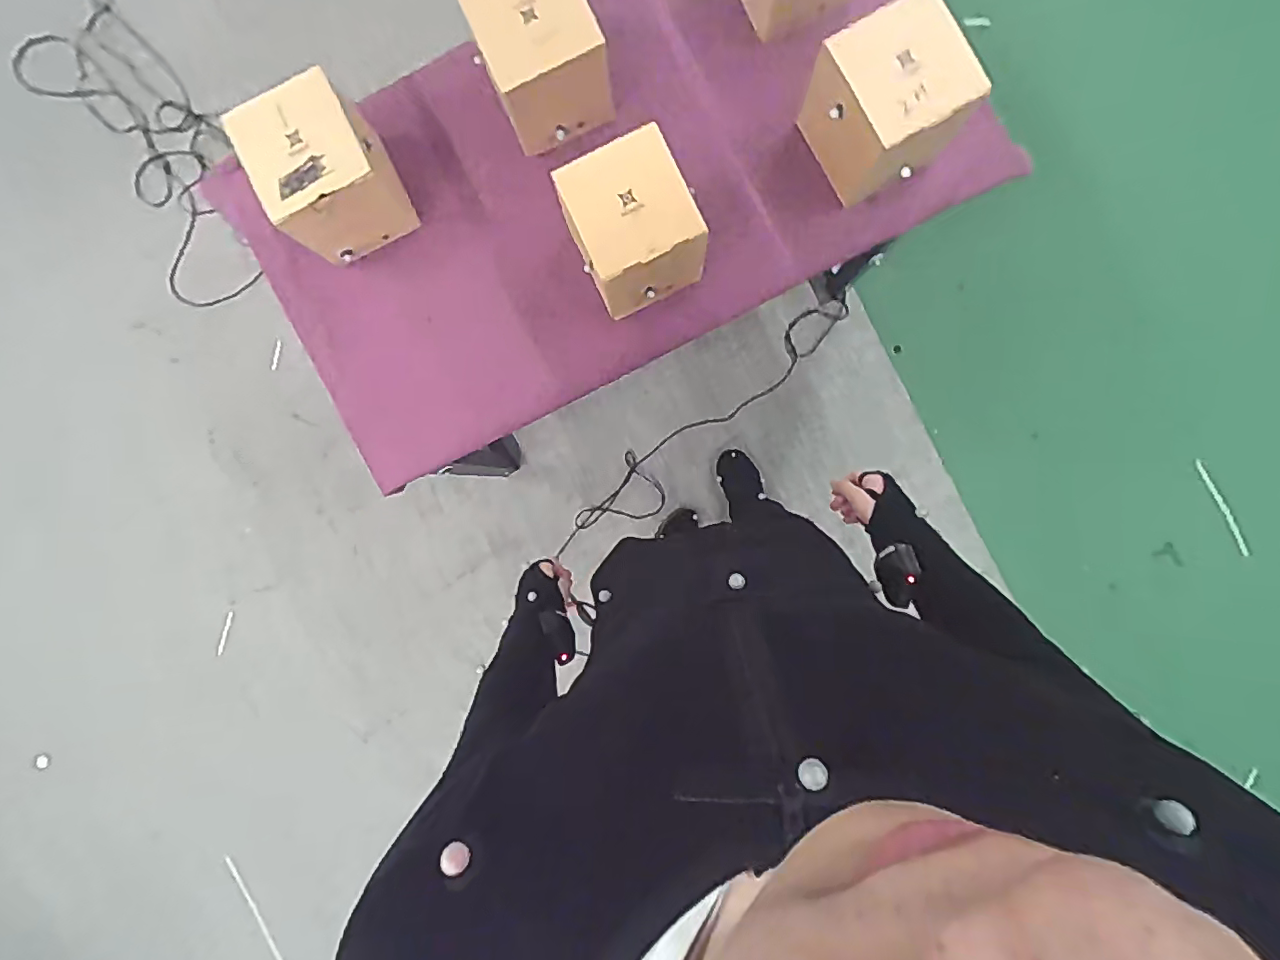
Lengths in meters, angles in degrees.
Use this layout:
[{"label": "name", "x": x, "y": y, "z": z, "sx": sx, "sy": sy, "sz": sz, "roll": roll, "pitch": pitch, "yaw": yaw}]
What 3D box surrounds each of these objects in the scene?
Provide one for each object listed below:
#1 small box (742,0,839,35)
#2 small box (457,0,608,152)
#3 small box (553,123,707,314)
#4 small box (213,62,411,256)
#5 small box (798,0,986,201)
[{"label": "small box", "x": 0.233, "y": -0.847, "z": 0.820, "sx": 0.168, "sy": 0.176, "sz": 0.179, "roll": -26, "pitch": 90, "yaw": 2}, {"label": "small box", "x": -0.160, "y": -0.659, "z": 0.834, "sx": 0.168, "sy": 0.176, "sz": 0.179, "roll": -25, "pitch": 92, "yaw": 2}, {"label": "small box", "x": -0.014, "y": -0.388, "z": 0.834, "sx": 0.168, "sy": 0.176, "sz": 0.179, "roll": -26, "pitch": 90, "yaw": 1}, {"label": "small box", "x": -0.490, "y": -0.476, "z": 0.839, "sx": 0.168, "sy": 0.176, "sz": 0.179, "roll": -27, "pitch": 91, "yaw": 1}, {"label": "small box", "x": 0.364, "y": -0.571, "z": 0.818, "sx": 0.168, "sy": 0.176, "sz": 0.179, "roll": -28, "pitch": 90, "yaw": 3}]
